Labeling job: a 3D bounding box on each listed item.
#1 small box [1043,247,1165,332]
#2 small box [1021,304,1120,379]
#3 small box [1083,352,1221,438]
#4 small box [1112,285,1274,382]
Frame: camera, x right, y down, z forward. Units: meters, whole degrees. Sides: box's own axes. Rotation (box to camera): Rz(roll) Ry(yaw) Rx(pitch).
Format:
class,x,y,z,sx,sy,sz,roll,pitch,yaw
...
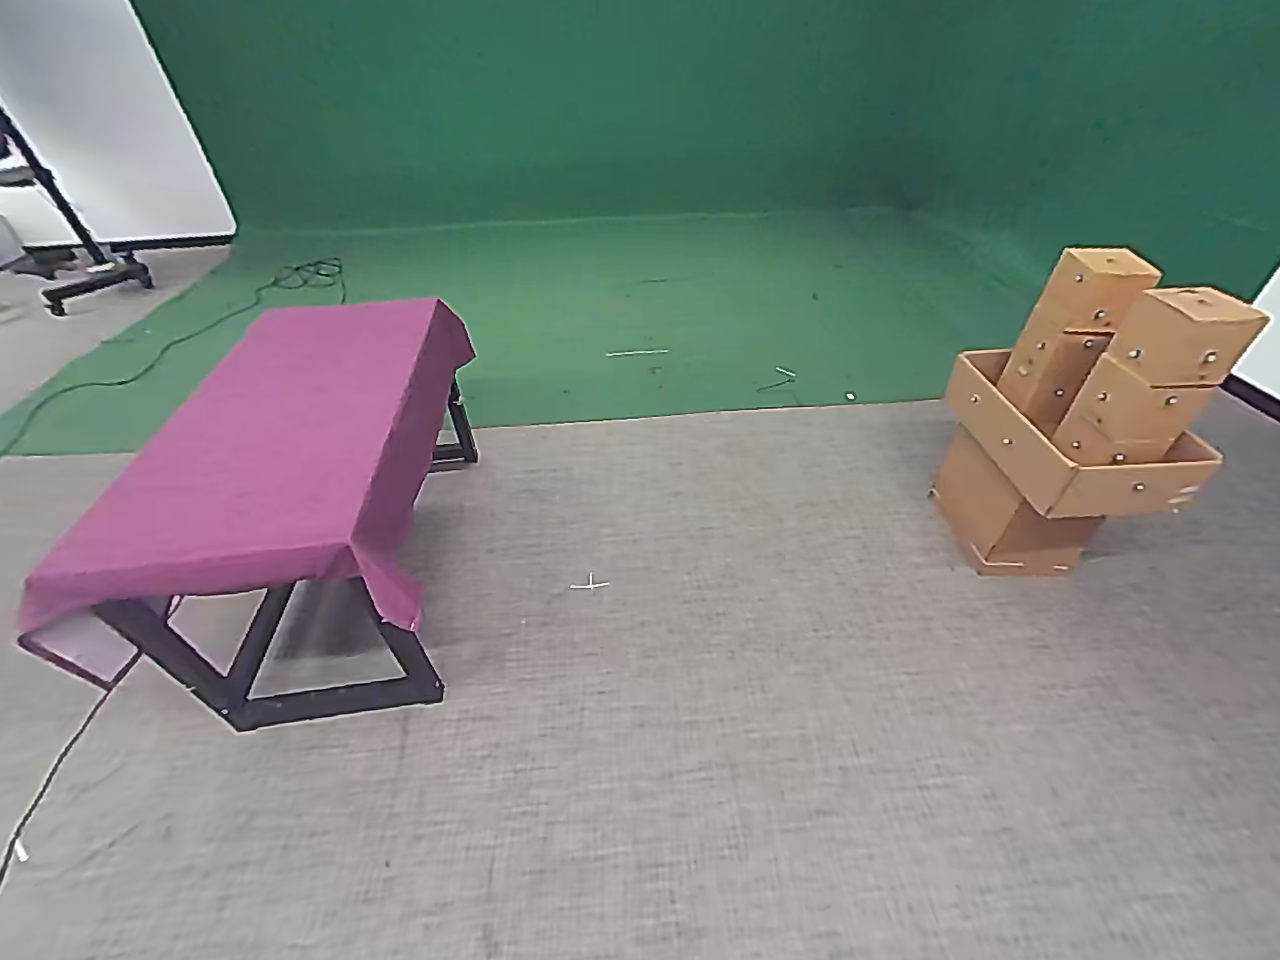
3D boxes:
class,x,y,z,sx,sy,sz,roll,pitch,yaw
small box,1.272,-0.531,1.502,0.168,0.176,0.179,3,44,6
small box,1.282,-0.414,1.615,0.179,0.176,0.168,1,43,3
small box,1.296,-0.221,1.392,0.179,0.176,0.168,-3,42,0
small box,1.292,-0.343,1.281,0.168,0.176,0.179,-2,42,1
